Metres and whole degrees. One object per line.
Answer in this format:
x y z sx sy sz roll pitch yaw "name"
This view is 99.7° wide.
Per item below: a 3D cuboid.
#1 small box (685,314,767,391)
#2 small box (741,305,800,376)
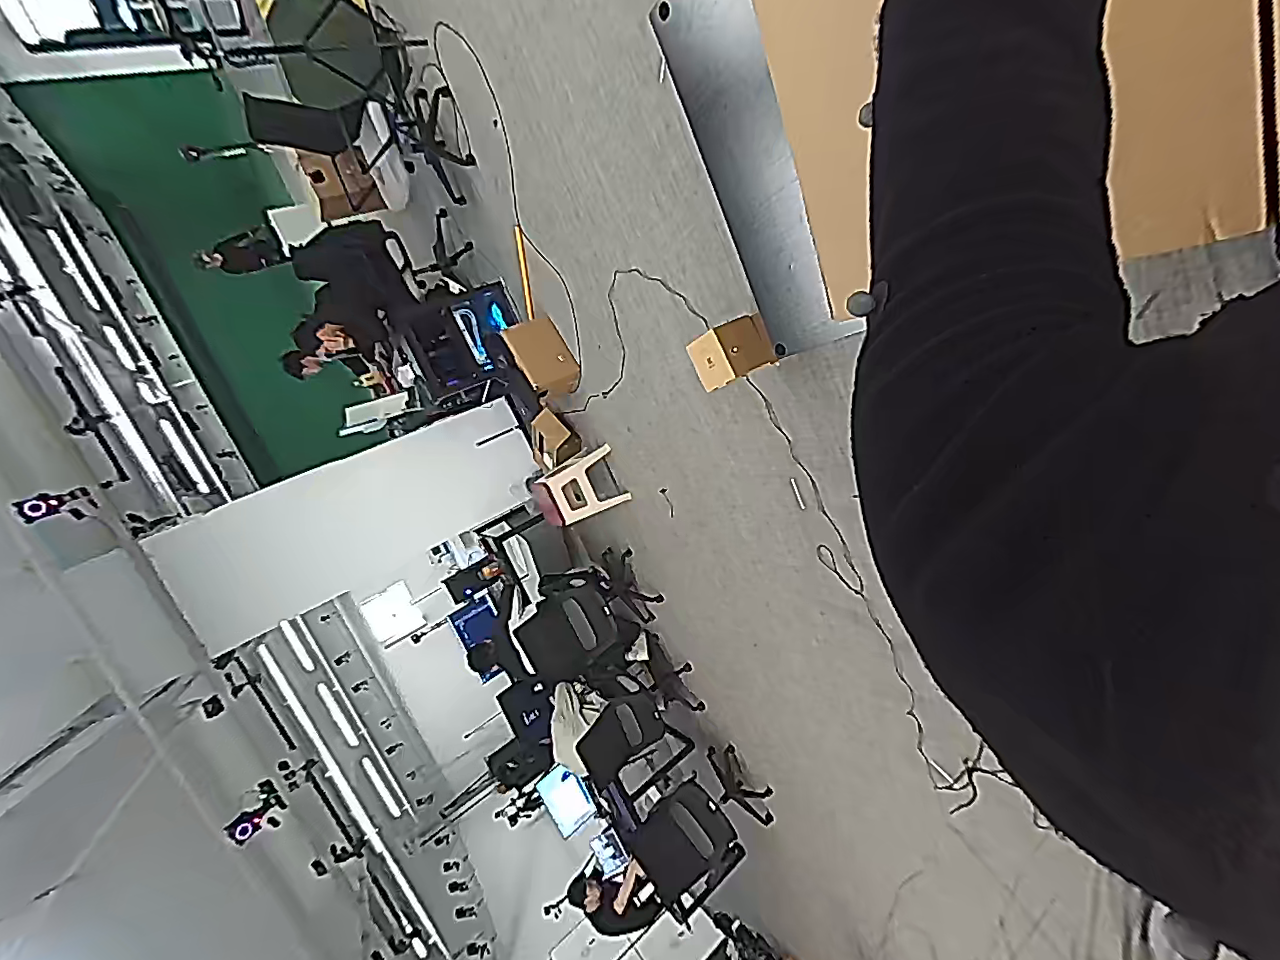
0.289 -0.423 1.795 0.168 0.176 0.179 -20 97 62 "small box"
0.419 -0.487 1.869 0.168 0.176 0.179 -13 105 62 "small box"
